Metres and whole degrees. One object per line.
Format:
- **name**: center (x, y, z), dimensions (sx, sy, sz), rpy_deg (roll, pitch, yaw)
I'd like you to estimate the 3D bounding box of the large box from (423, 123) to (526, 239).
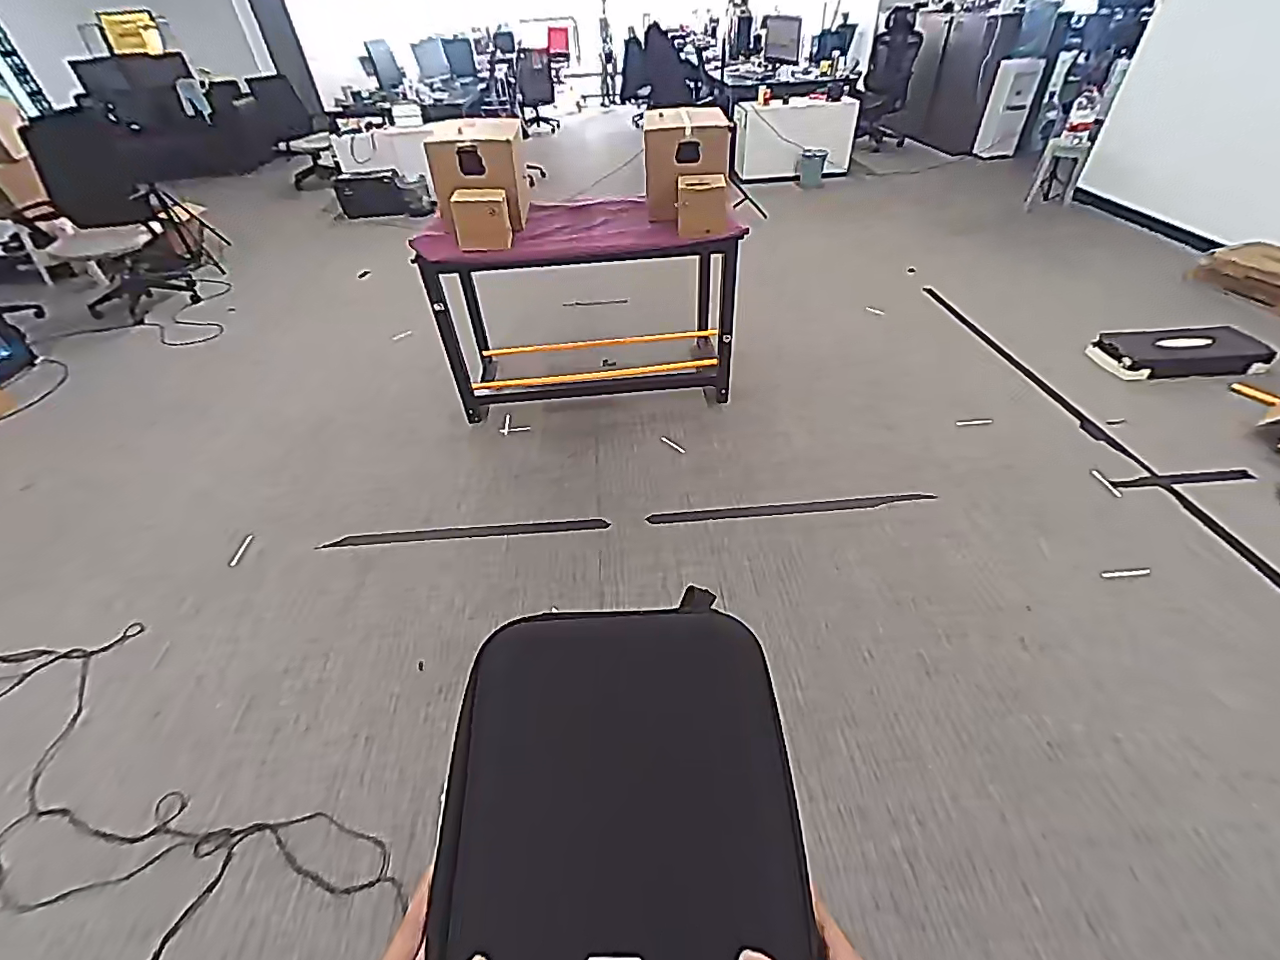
- **large box**: center (-0.638, -1.201, 2.157), dimensions (0.320, 0.320, 0.408), rpy_deg (-5, 44, -3)
